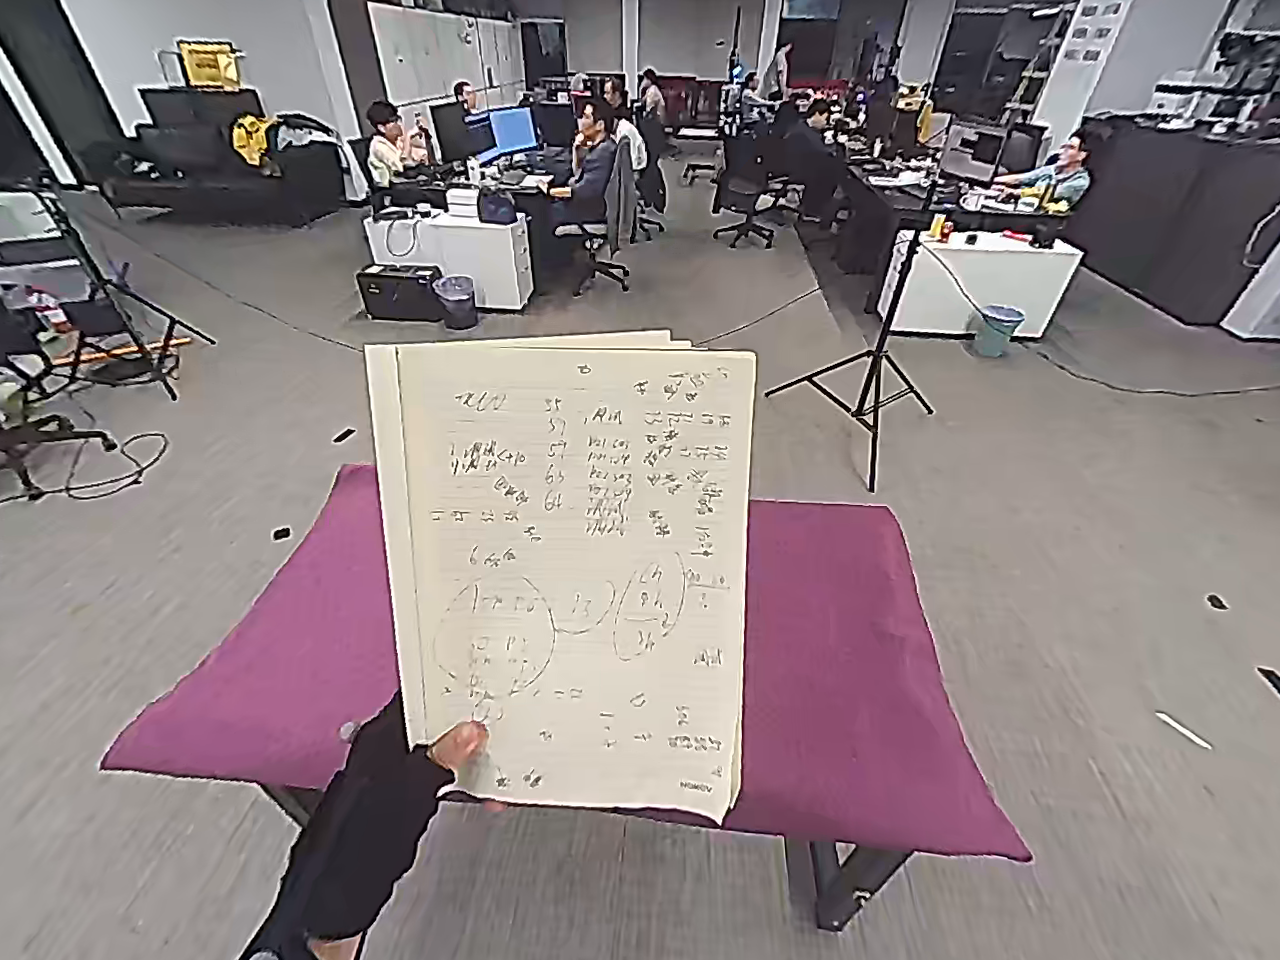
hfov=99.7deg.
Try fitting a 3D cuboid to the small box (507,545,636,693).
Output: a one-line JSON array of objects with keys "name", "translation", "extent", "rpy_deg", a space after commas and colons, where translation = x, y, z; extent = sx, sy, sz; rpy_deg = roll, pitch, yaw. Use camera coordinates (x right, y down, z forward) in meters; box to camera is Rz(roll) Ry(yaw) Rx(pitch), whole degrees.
[{"name": "small box", "translation": [-0.103, 0.229, 0.887], "extent": [0.179, 0.176, 0.168], "rpy_deg": [4, 38, 3]}]
